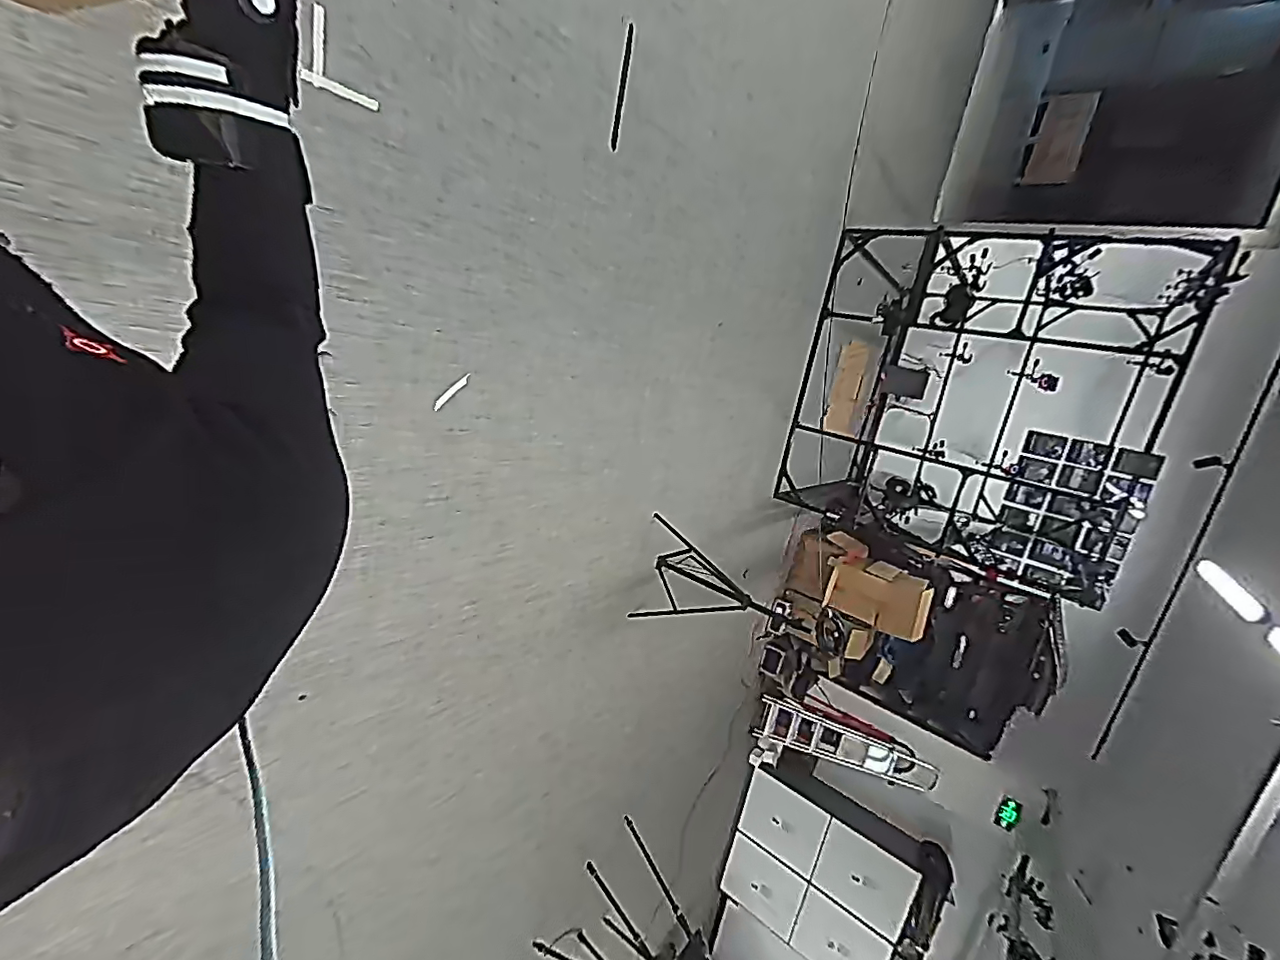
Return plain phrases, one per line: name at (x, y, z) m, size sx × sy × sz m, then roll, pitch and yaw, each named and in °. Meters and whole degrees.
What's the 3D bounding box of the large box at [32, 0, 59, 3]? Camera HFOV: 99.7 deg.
large box at (-0.488, -0.487, 0.210) m, size 0.408 × 0.320 × 0.320 m, roll -13°, pitch 124°, yaw -56°
